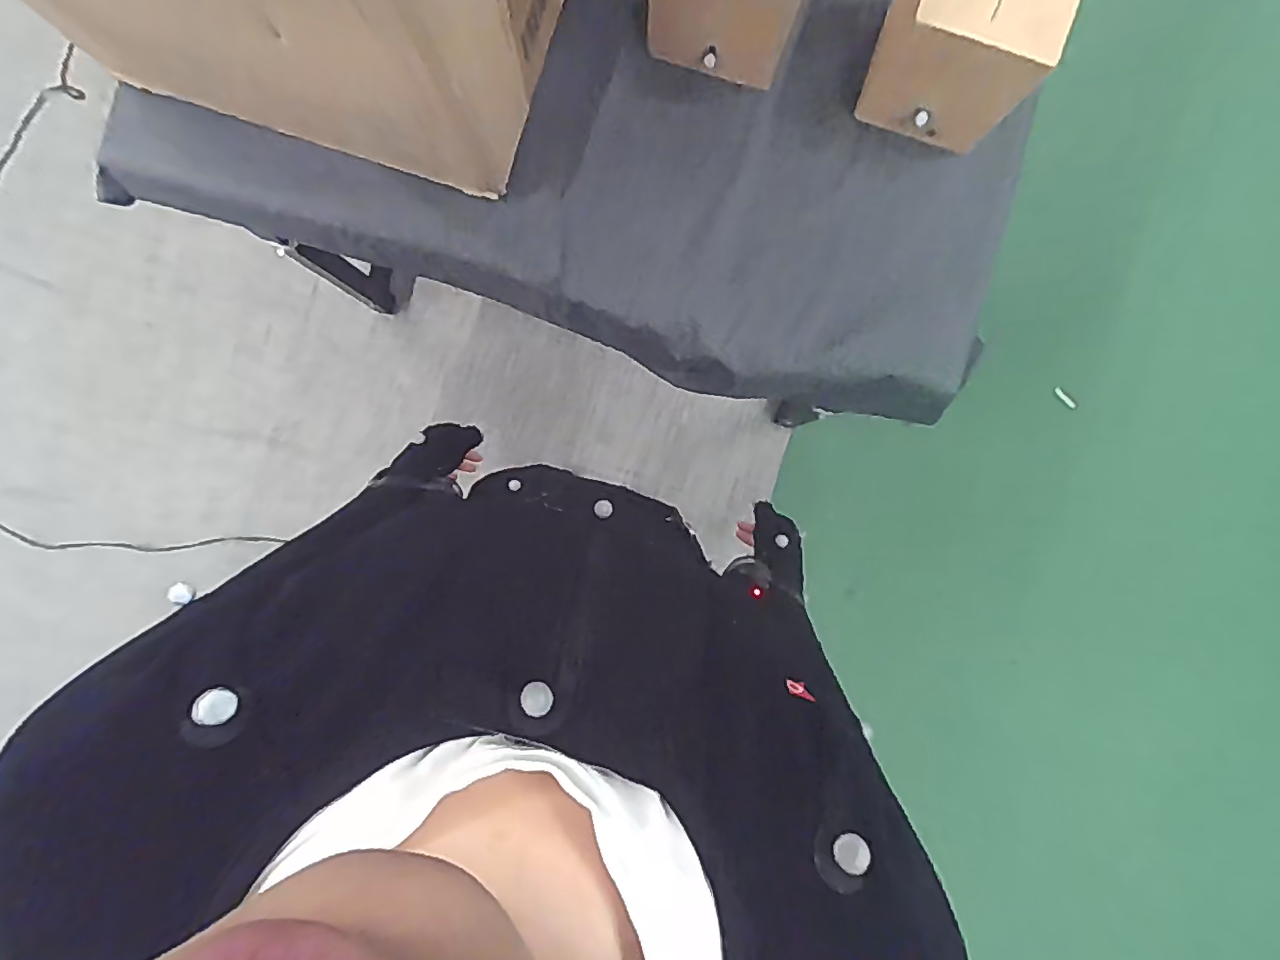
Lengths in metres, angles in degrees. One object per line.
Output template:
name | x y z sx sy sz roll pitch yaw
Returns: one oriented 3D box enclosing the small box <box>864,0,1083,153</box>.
small box | 0.406 -0.557 0.668 0.168 0.176 0.179 19 91 -1
